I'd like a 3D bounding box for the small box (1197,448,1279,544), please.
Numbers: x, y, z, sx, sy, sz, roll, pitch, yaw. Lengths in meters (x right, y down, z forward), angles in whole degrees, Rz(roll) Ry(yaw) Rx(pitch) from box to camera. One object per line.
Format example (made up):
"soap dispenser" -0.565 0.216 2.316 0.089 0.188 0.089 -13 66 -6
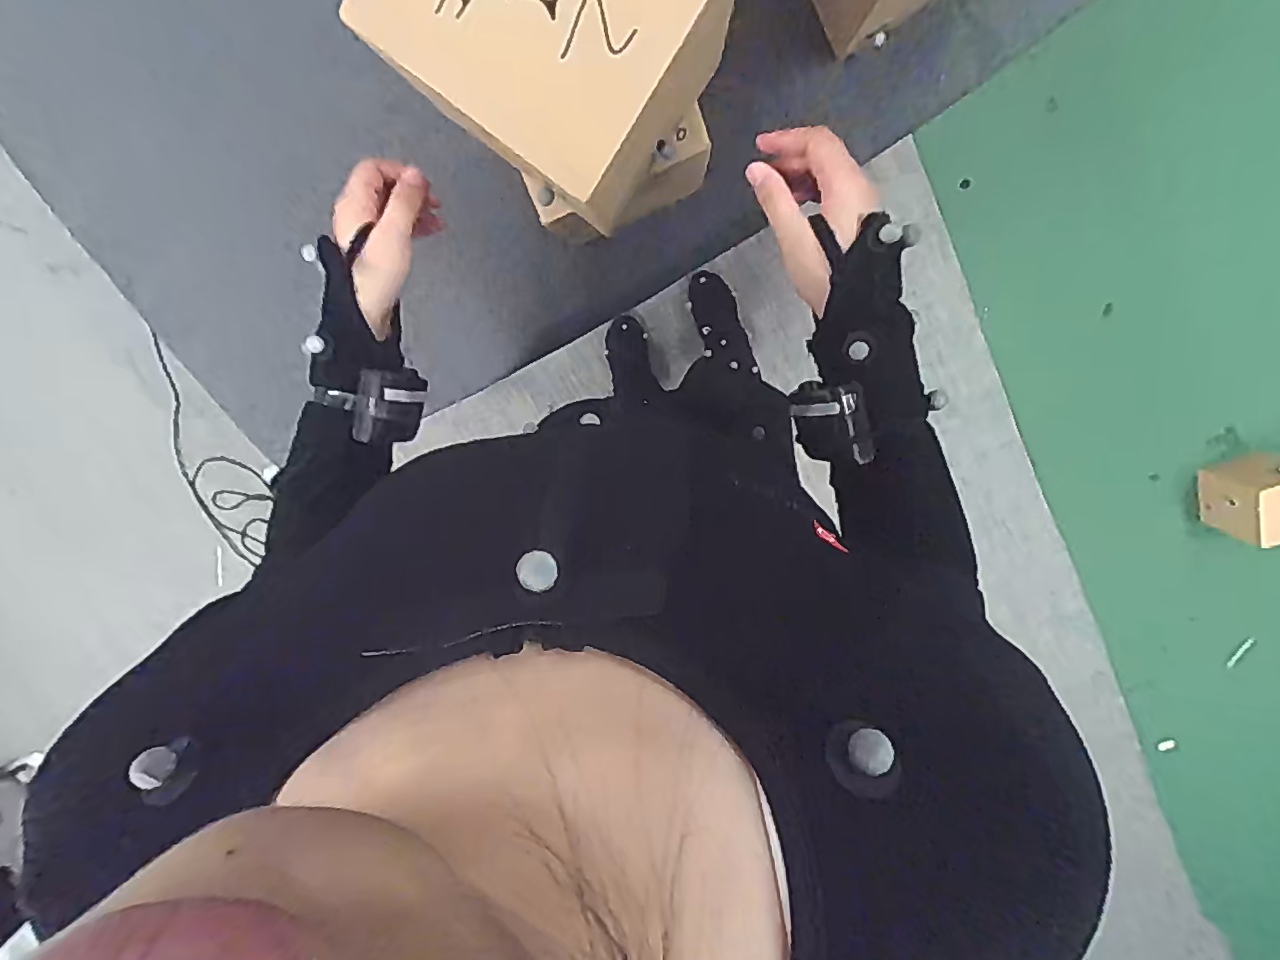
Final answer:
"small box" 1.599 0.035 1.395 0.179 0.176 0.168 -21 107 8

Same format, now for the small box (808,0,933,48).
"small box" 0.233 -0.526 0.467 0.168 0.176 0.179 -29 103 12

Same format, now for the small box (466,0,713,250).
"small box" -0.038 -0.353 0.538 0.168 0.176 0.179 -21 105 9
